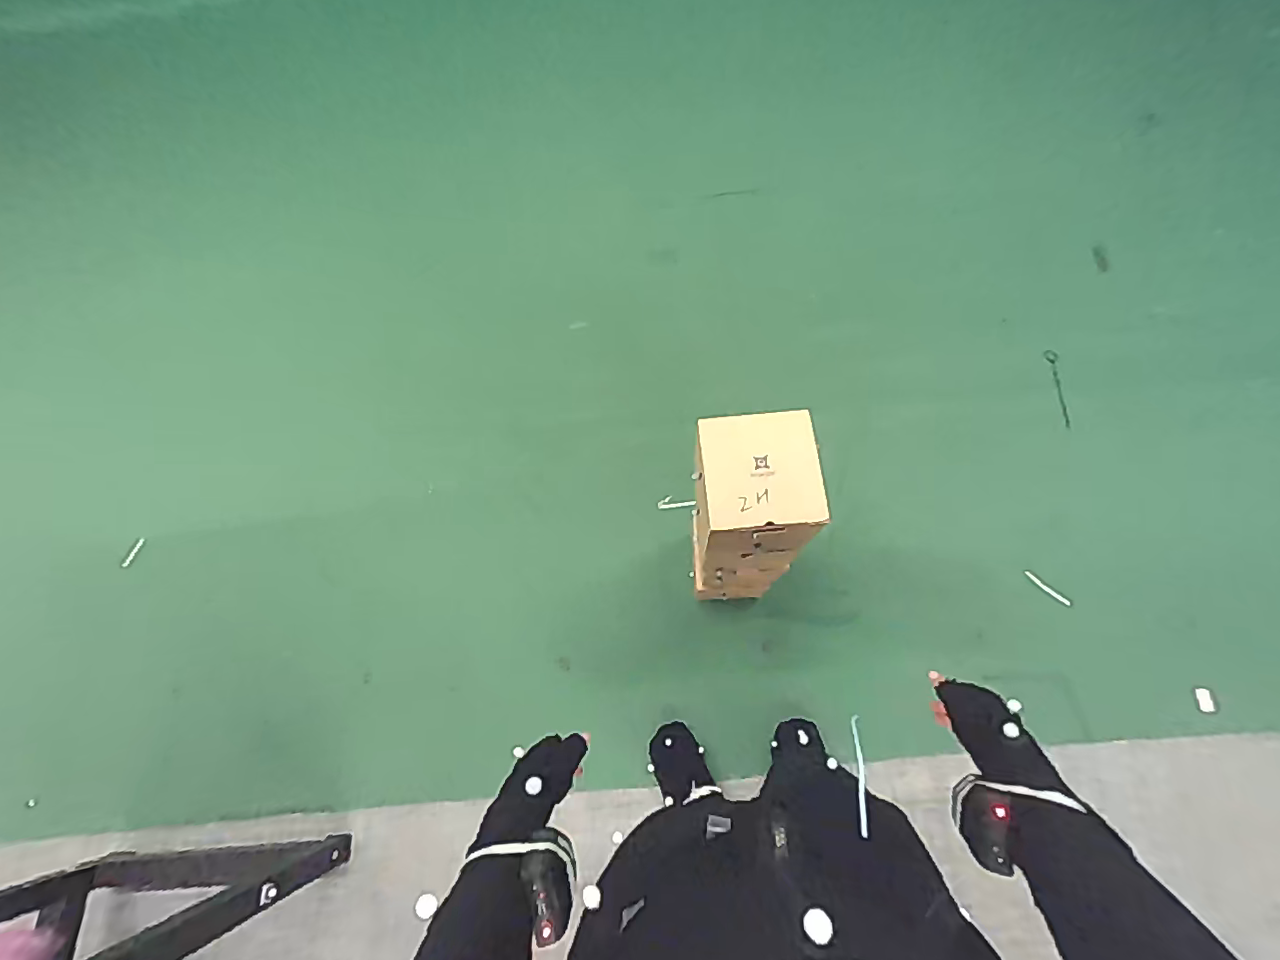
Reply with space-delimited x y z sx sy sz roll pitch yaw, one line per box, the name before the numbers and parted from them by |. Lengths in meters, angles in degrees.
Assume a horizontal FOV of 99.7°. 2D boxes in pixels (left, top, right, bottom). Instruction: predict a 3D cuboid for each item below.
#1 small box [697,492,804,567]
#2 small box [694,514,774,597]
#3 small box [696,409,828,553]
small box | 0.196 0.063 1.003 0.168 0.176 0.179 -4 70 3
small box | 0.221 0.183 1.309 0.168 0.176 0.179 -4 71 3
small box | 0.178 0.008 0.849 0.168 0.176 0.179 -5 71 2
